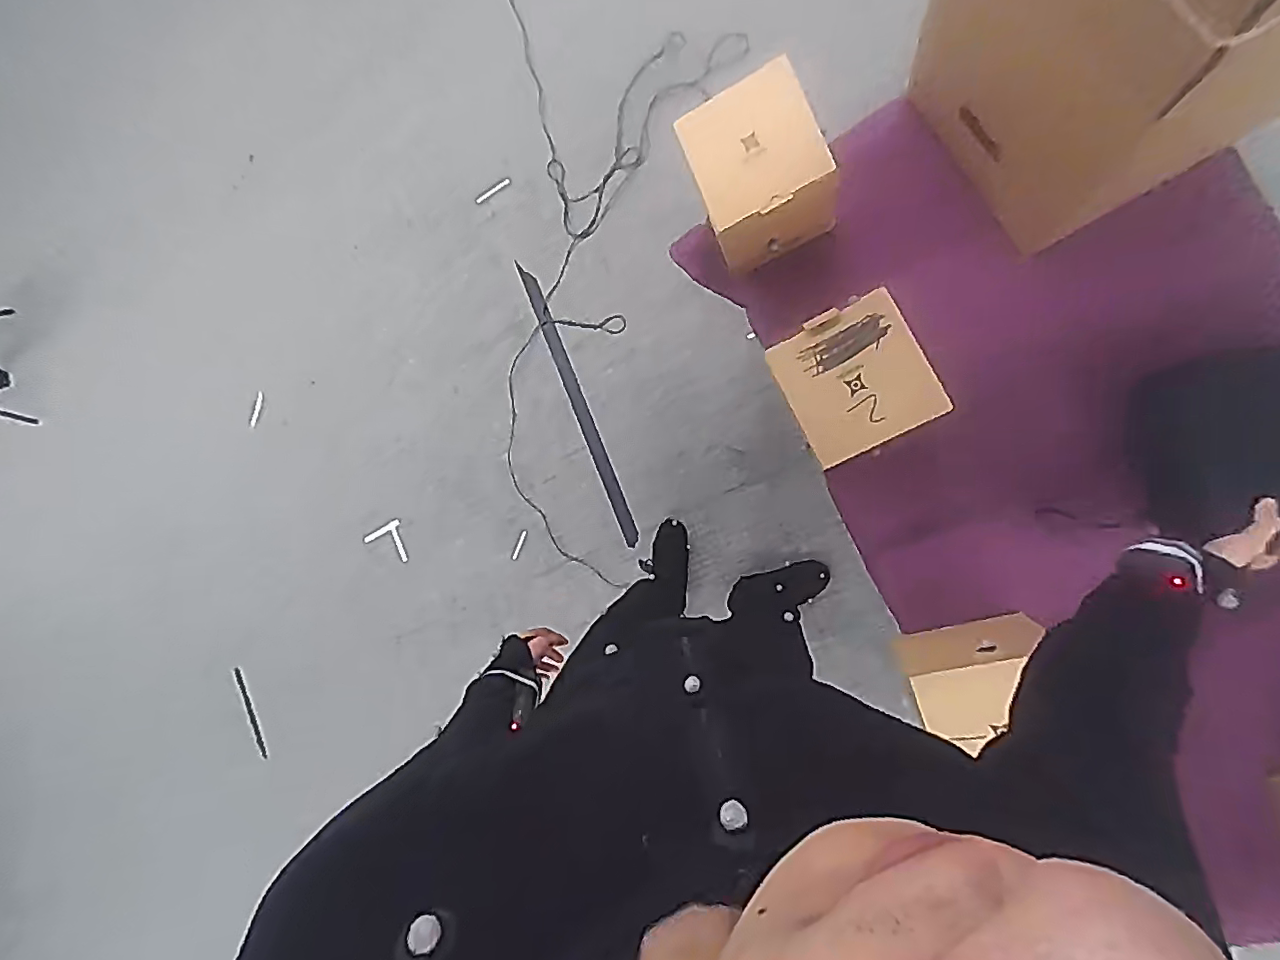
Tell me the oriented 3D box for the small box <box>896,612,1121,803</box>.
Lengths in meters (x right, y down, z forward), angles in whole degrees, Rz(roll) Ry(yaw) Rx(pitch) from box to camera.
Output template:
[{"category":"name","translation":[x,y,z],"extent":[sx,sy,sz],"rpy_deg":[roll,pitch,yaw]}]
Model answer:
[{"category":"small box","translation":[0.456,0.283,0.702],"extent":[0.179,0.176,0.168],"rpy_deg":[-18,85,19]}]

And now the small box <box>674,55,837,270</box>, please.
[{"category":"small box","translation":[0.170,-0.442,0.787],"extent":[0.168,0.176,0.179],"rpy_deg":[-23,85,17]}]
